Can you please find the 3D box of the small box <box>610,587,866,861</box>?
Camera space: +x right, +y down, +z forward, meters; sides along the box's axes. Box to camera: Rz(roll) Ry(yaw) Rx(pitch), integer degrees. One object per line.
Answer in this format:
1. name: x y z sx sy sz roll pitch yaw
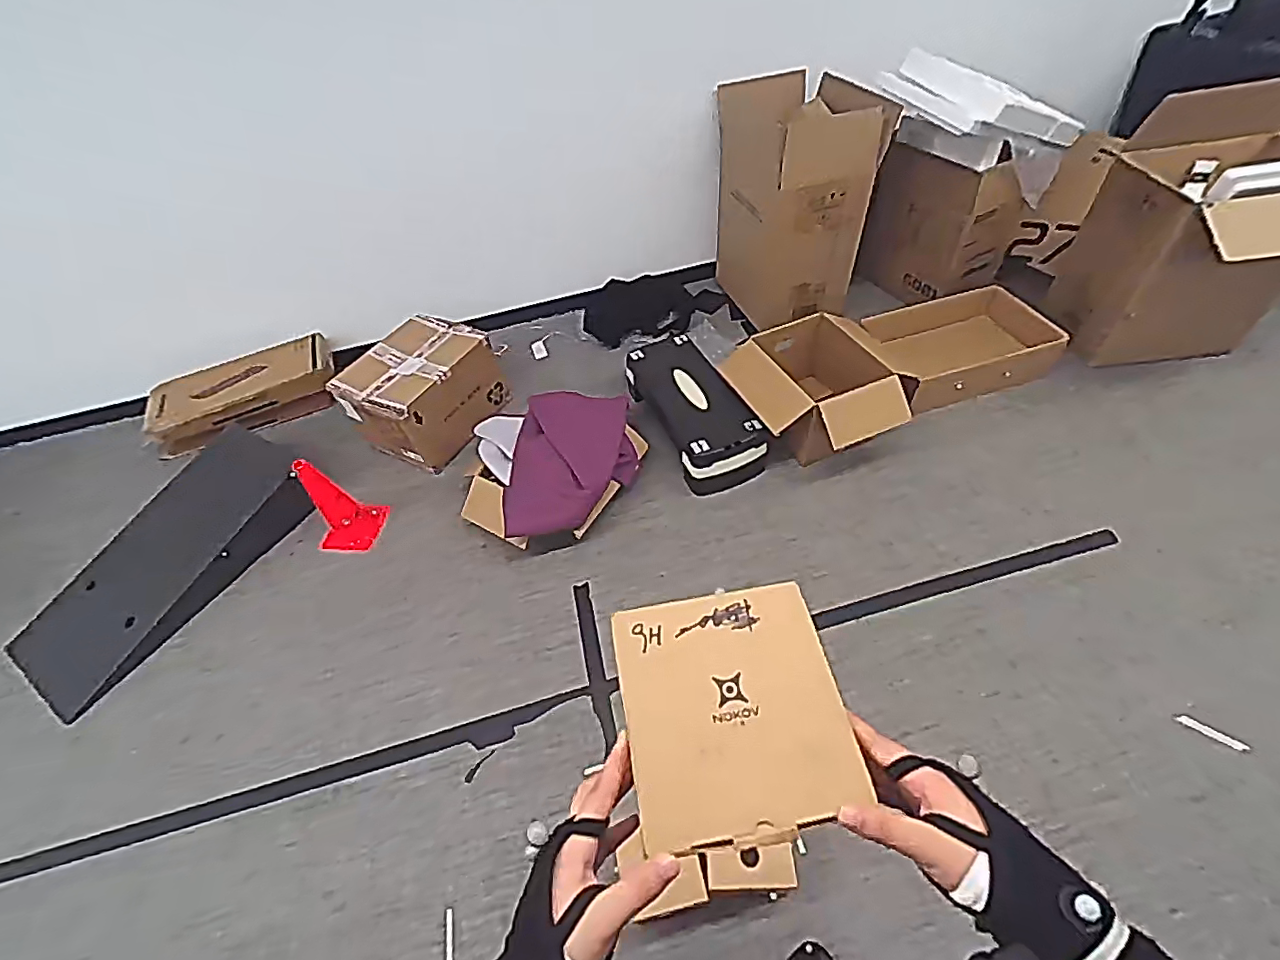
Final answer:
1. small box: 0.070 0.220 0.486 0.168 0.176 0.179 -9 56 -4
